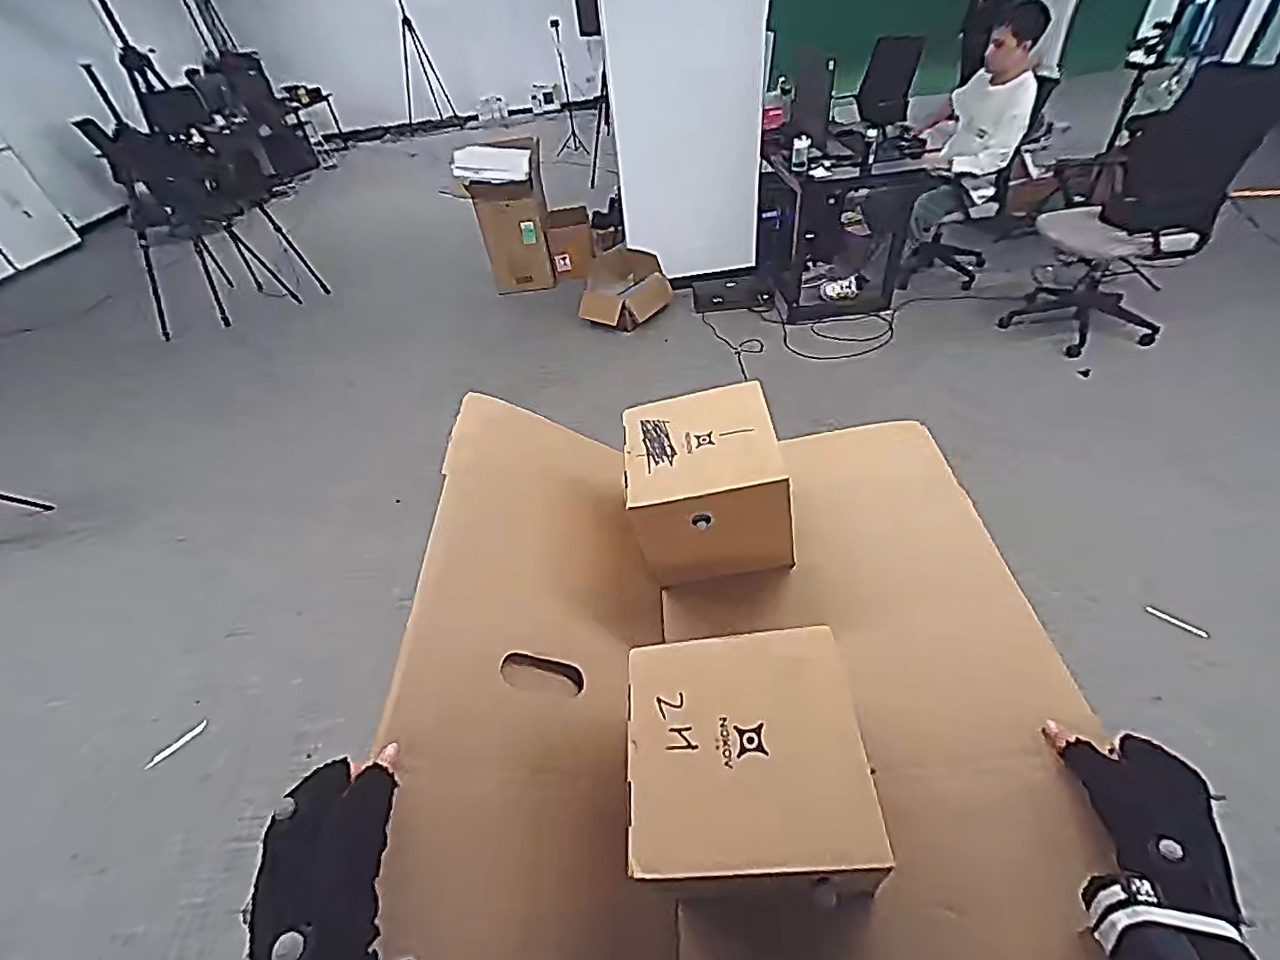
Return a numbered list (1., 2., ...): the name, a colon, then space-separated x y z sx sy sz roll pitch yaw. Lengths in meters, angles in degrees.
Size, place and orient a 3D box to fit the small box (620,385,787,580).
1. small box: 0.081 0.010 0.692 0.179 0.176 0.168 -11 48 8
